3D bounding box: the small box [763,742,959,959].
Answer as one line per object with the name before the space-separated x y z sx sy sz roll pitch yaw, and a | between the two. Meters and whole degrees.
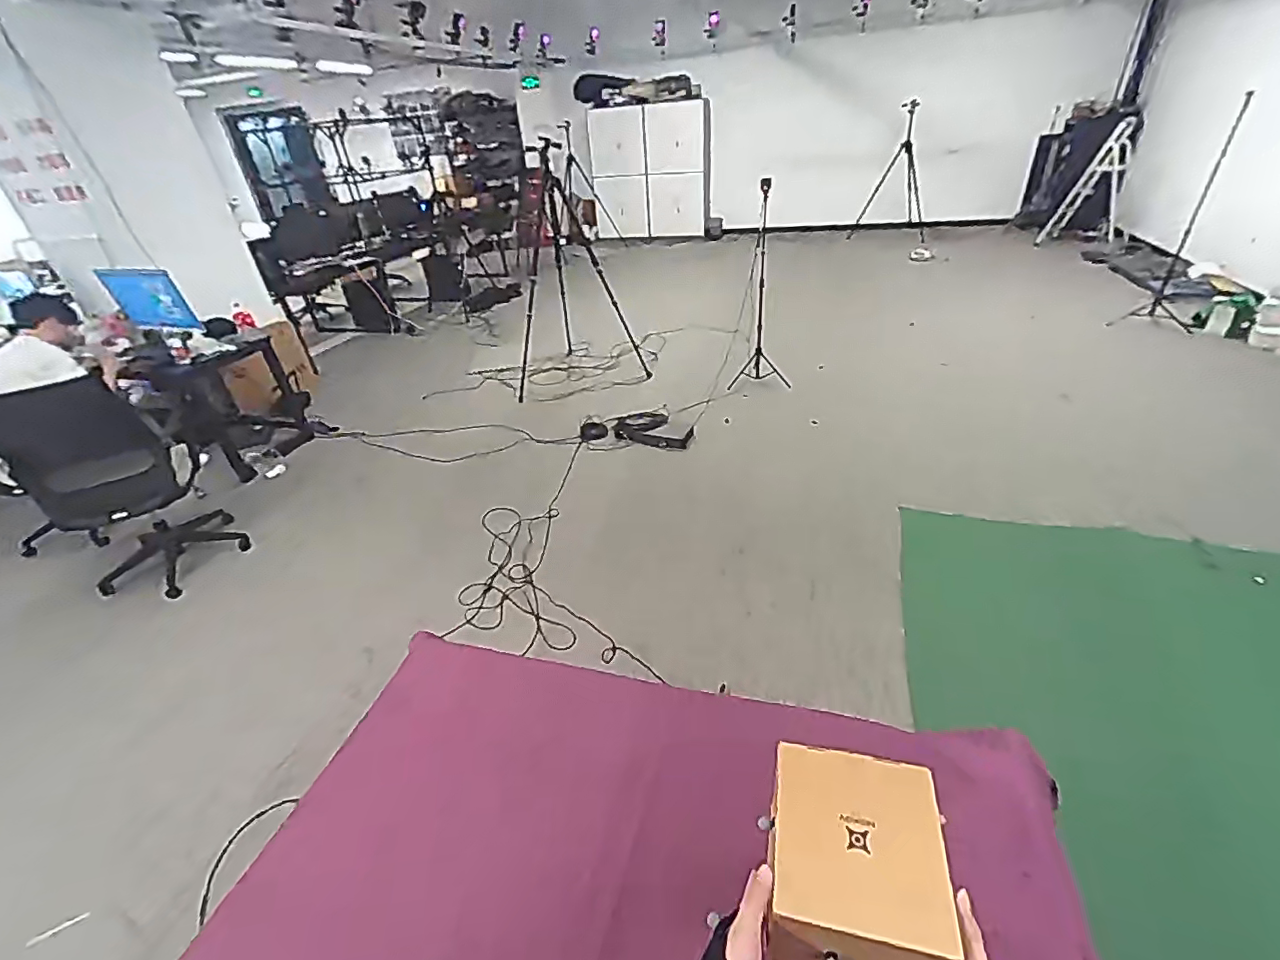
small box | 0.225 0.427 0.592 0.168 0.176 0.179 4 35 15
